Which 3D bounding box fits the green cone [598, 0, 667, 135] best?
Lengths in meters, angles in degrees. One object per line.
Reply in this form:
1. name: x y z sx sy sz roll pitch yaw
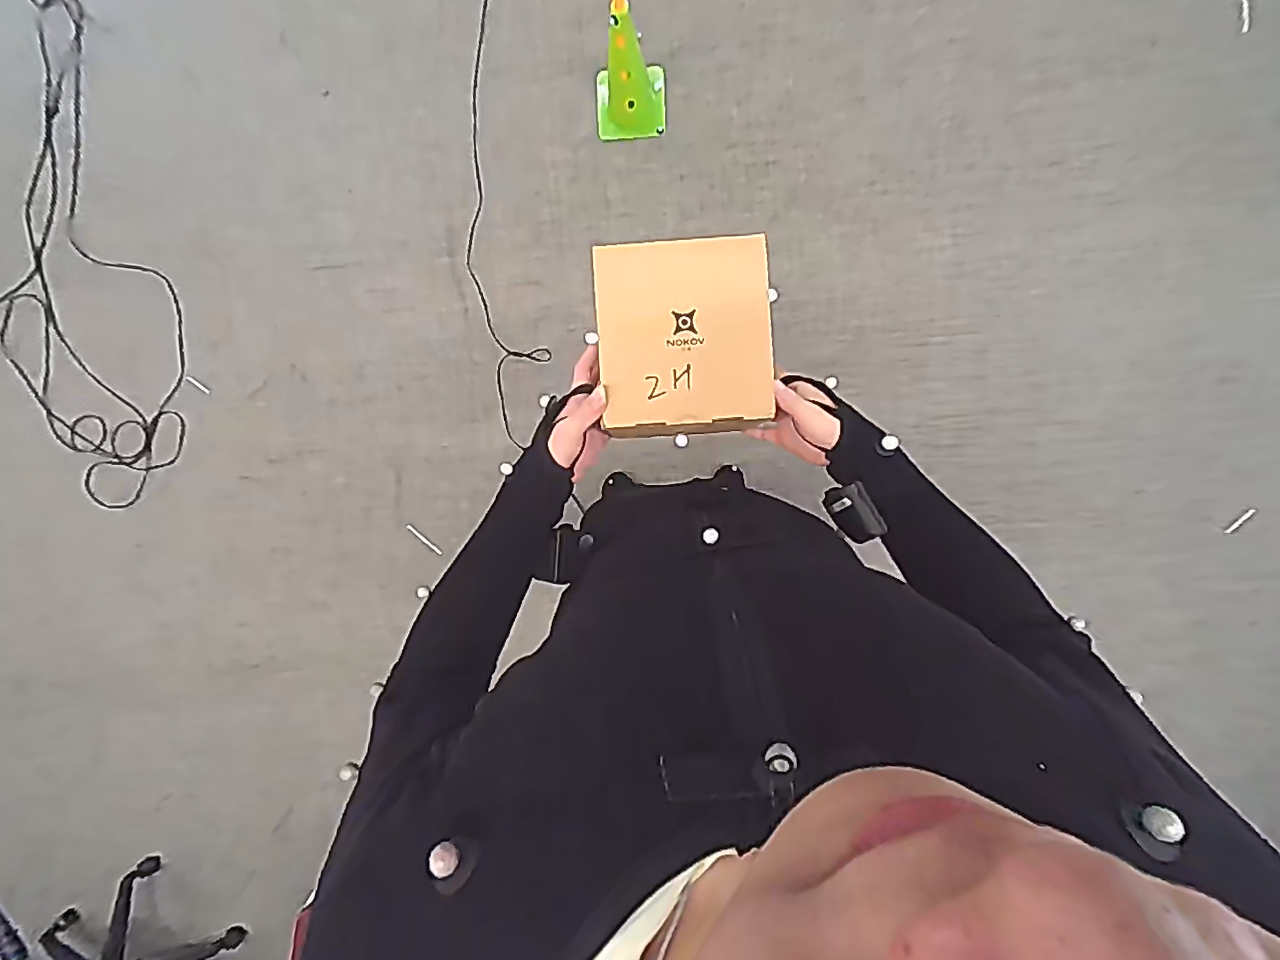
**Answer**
1. green cone: -0.036 -1.122 1.423 0.202 0.368 0.200 -2 92 5
